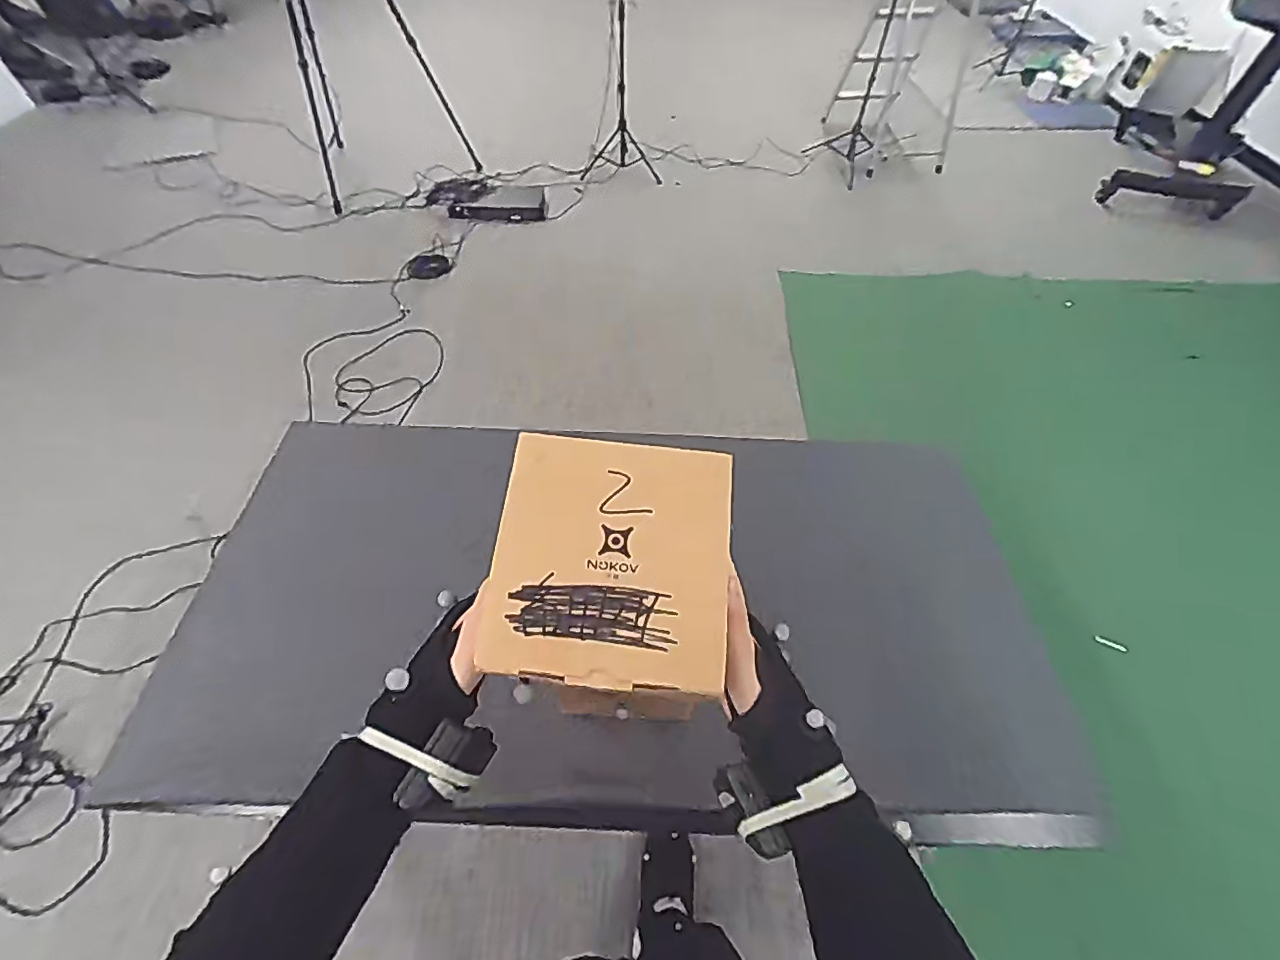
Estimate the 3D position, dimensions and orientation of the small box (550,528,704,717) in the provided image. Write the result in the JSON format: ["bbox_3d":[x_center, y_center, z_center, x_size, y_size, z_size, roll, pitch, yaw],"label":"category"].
[{"bbox_3d":[-0.011,0.180,0.678,0.168,0.176,0.179,3,54,2],"label":"small box"}]
